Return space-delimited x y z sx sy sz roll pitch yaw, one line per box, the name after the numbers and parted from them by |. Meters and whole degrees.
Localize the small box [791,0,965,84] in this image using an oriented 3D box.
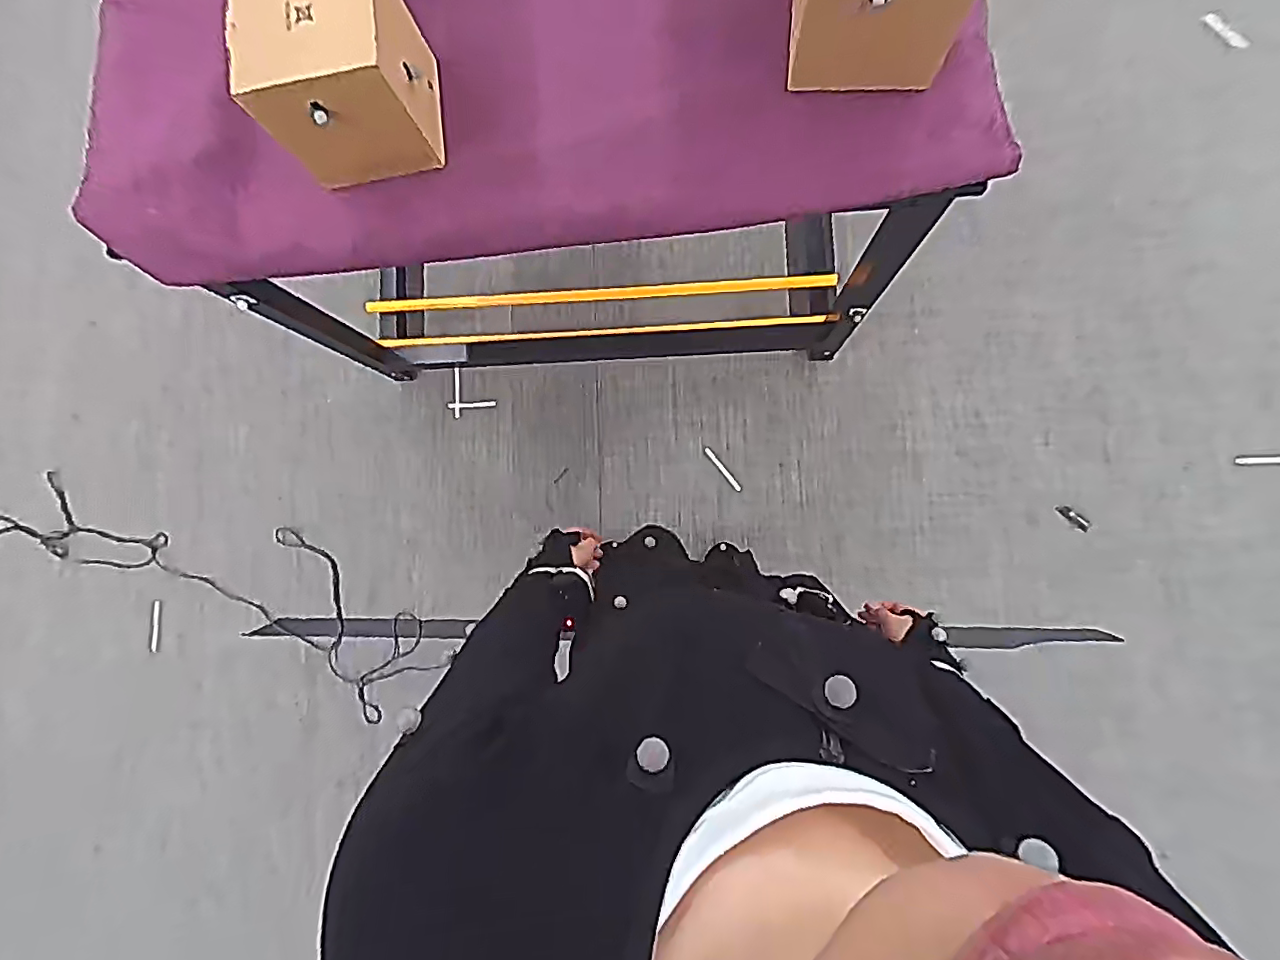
0.273 -0.586 0.609 0.179 0.176 0.168 4 85 6 | small box

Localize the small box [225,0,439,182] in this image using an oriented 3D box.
-0.365 -0.506 0.671 0.179 0.176 0.168 -7 84 5 | small box
